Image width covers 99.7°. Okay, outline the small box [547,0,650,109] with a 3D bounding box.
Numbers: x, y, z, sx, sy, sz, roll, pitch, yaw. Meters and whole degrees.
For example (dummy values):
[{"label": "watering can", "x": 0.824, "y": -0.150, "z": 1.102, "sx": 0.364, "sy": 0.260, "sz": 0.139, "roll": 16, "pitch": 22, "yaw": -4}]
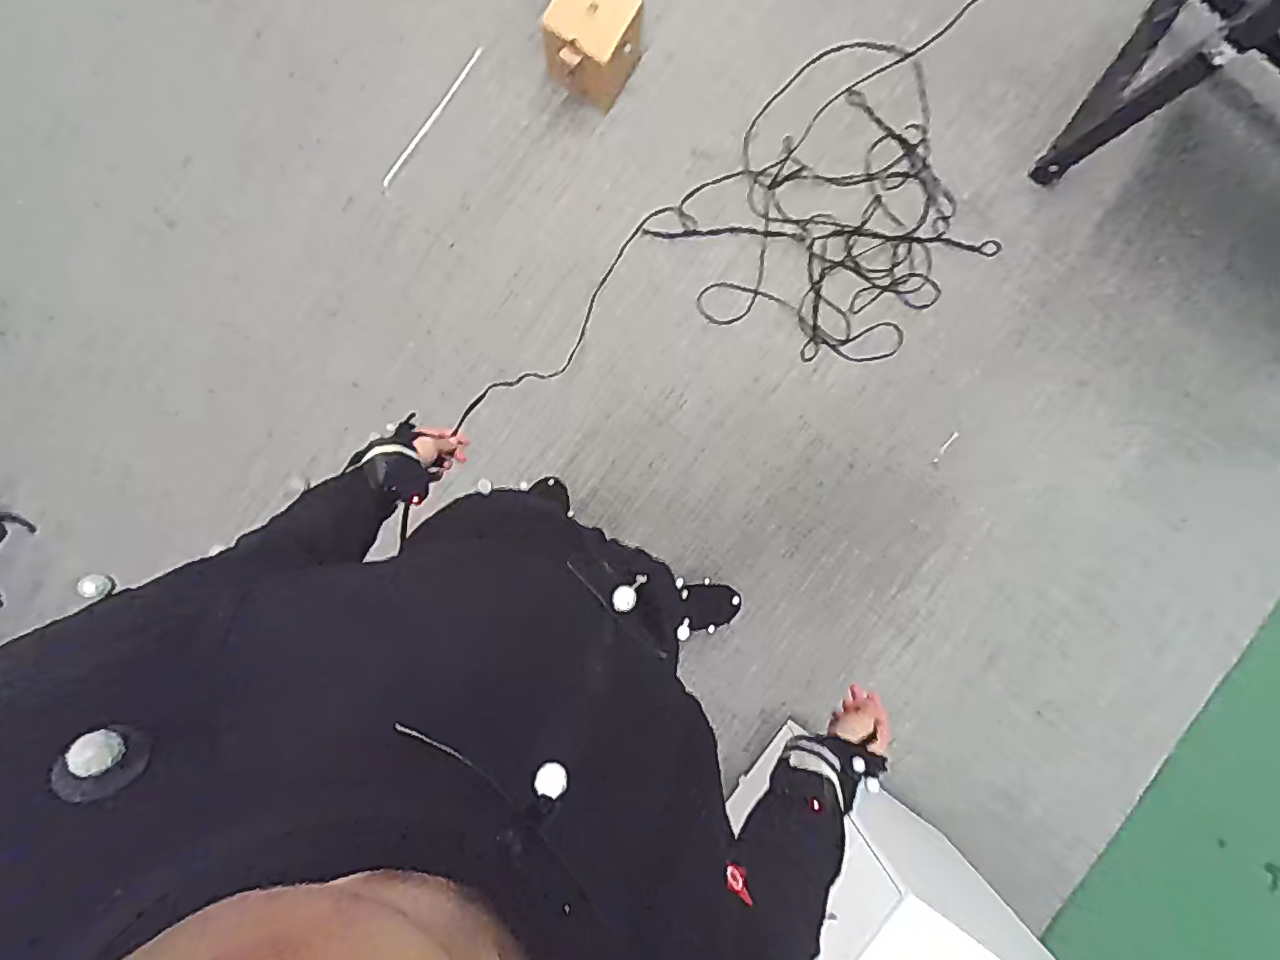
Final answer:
[{"label": "small box", "x": -0.096, "y": -1.018, "z": 1.244, "sx": 0.168, "sy": 0.176, "sz": 0.179, "roll": 30, "pitch": 91, "yaw": -4}]
